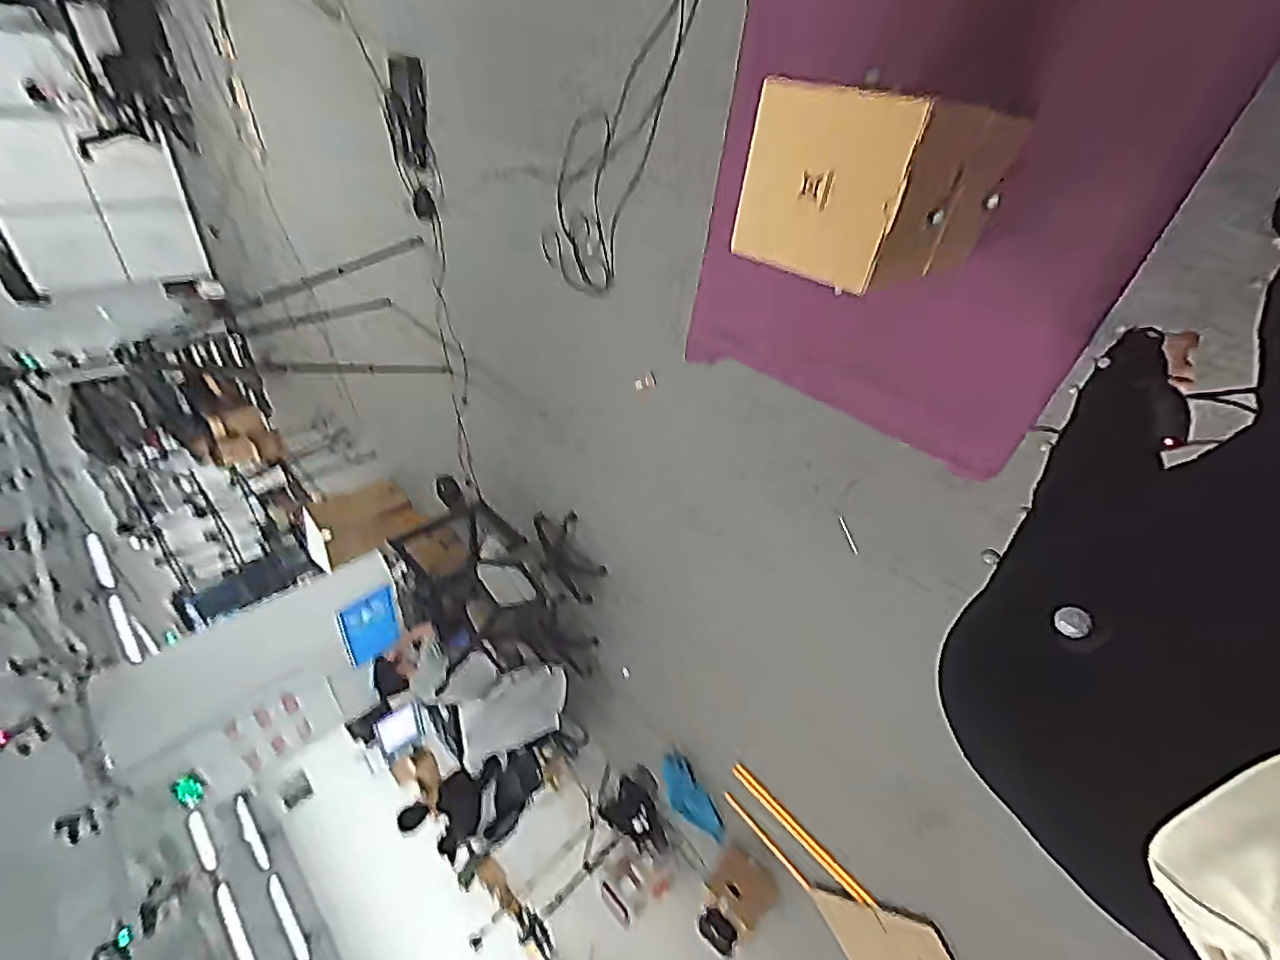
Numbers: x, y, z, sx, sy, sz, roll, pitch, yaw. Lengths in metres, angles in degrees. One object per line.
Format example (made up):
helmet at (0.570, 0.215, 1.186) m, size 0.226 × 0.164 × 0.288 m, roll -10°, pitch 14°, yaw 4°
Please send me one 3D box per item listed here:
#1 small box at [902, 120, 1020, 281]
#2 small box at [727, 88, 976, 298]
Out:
small box at (0.344, -0.375, 0.701) m, size 0.179 × 0.176 × 0.168 m, roll 35°, pitch 135°, yaw 30°
small box at (0.229, -0.318, 0.601) m, size 0.179 × 0.176 × 0.168 m, roll 34°, pitch 133°, yaw 31°
